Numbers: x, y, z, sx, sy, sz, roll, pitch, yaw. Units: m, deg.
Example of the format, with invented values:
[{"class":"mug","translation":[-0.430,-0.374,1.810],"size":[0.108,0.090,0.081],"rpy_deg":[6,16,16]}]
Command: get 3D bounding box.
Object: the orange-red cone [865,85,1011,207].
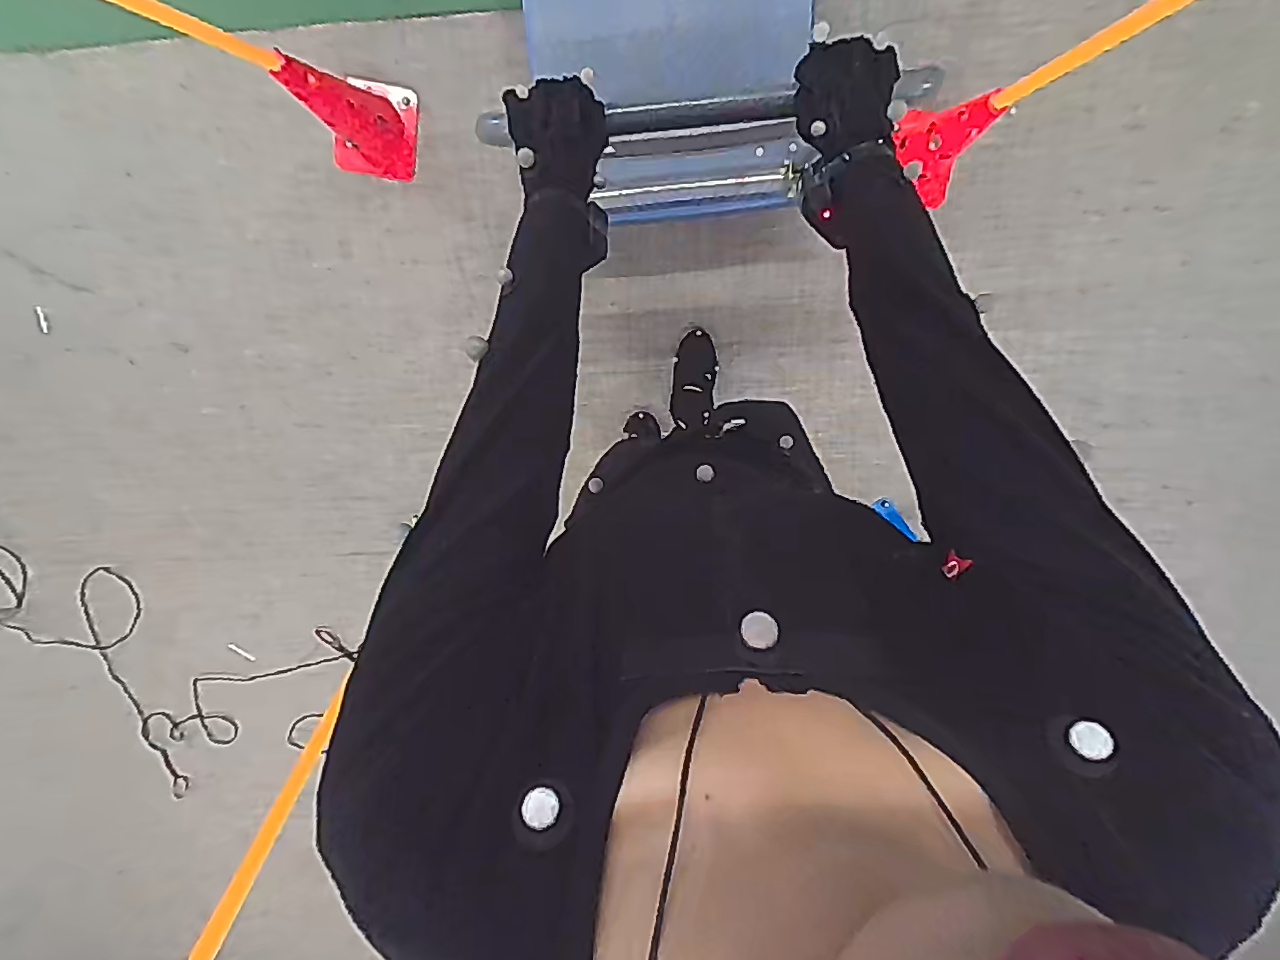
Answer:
[{"class":"orange-red cone","translation":[0.638,-0.714,1.110],"size":[0.198,0.360,0.199],"rpy_deg":[9,107,0]}]
